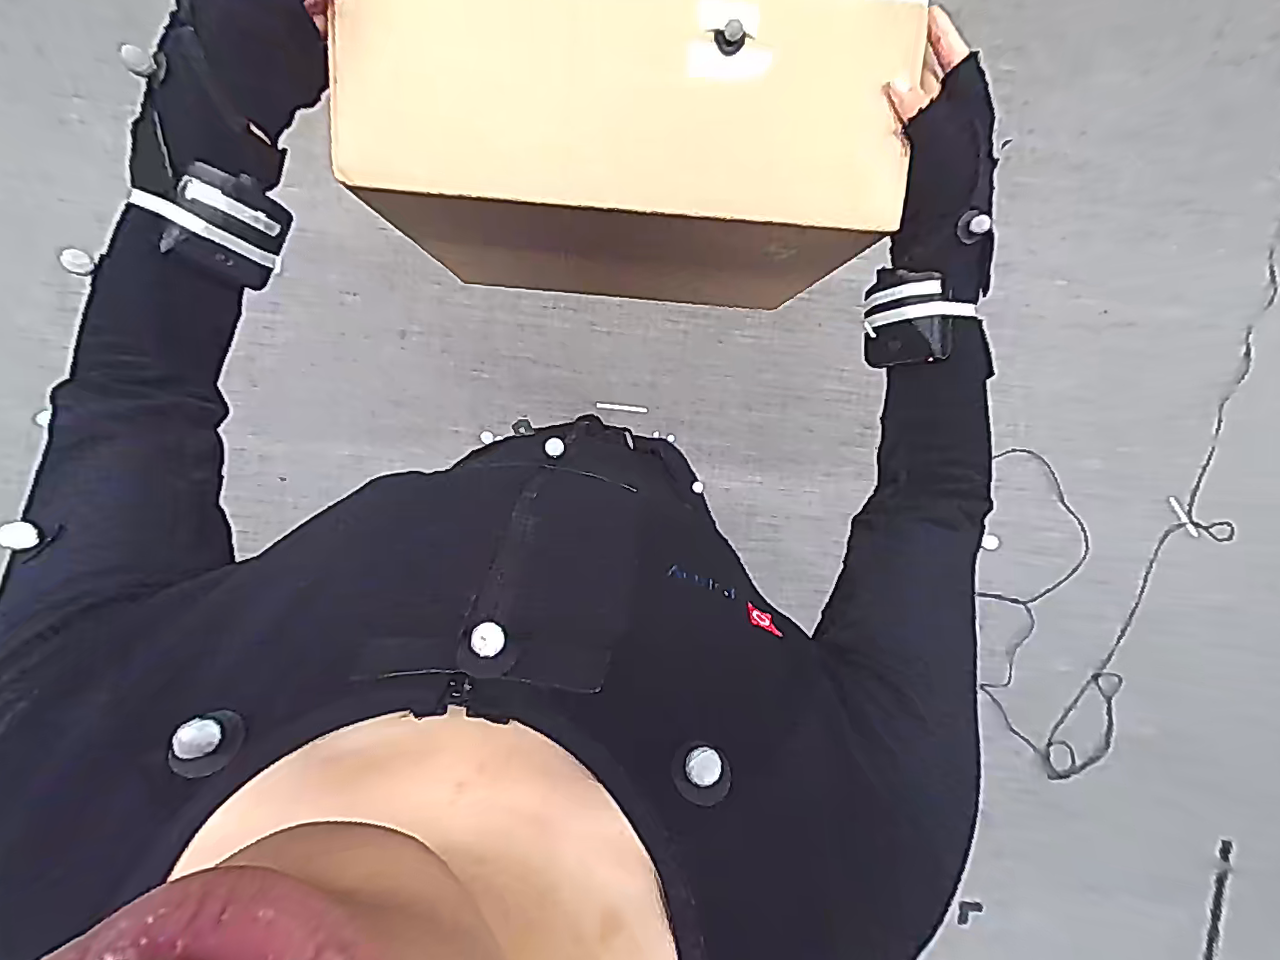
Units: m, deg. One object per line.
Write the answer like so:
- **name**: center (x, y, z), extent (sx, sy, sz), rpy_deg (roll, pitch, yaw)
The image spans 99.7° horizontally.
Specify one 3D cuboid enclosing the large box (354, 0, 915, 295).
- **large box**: center (-0.006, -0.380, 0.527), extent (0.408, 0.320, 0.320), rpy_deg (4, 98, -3)
